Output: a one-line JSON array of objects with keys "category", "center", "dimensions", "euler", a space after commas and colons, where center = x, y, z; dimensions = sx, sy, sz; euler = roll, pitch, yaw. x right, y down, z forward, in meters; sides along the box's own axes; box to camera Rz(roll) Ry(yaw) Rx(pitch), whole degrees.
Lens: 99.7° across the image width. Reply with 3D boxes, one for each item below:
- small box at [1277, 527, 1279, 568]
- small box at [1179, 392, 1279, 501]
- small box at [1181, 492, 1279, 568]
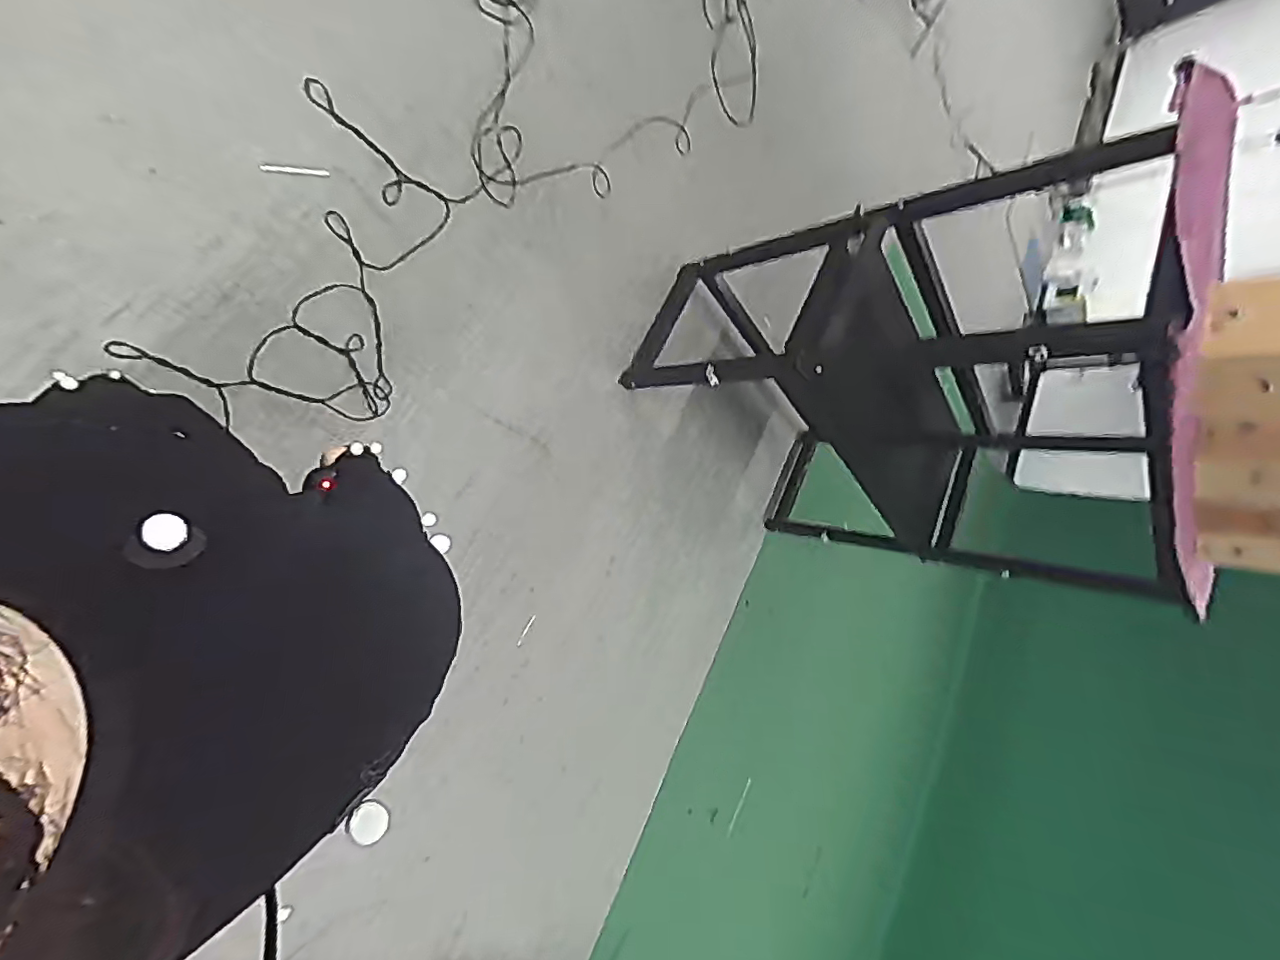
[{"category": "small box", "center": [1.597, 0.117, 1.244], "dimensions": [0.179, 0.176, 0.168], "euler": [40, 66, -35]}, {"category": "small box", "center": [1.285, -0.070, 1.162], "dimensions": [0.179, 0.176, 0.168], "euler": [42, 68, -37]}, {"category": "small box", "center": [1.496, 0.098, 1.370], "dimensions": [0.168, 0.176, 0.179], "euler": [42, 66, -36]}]
